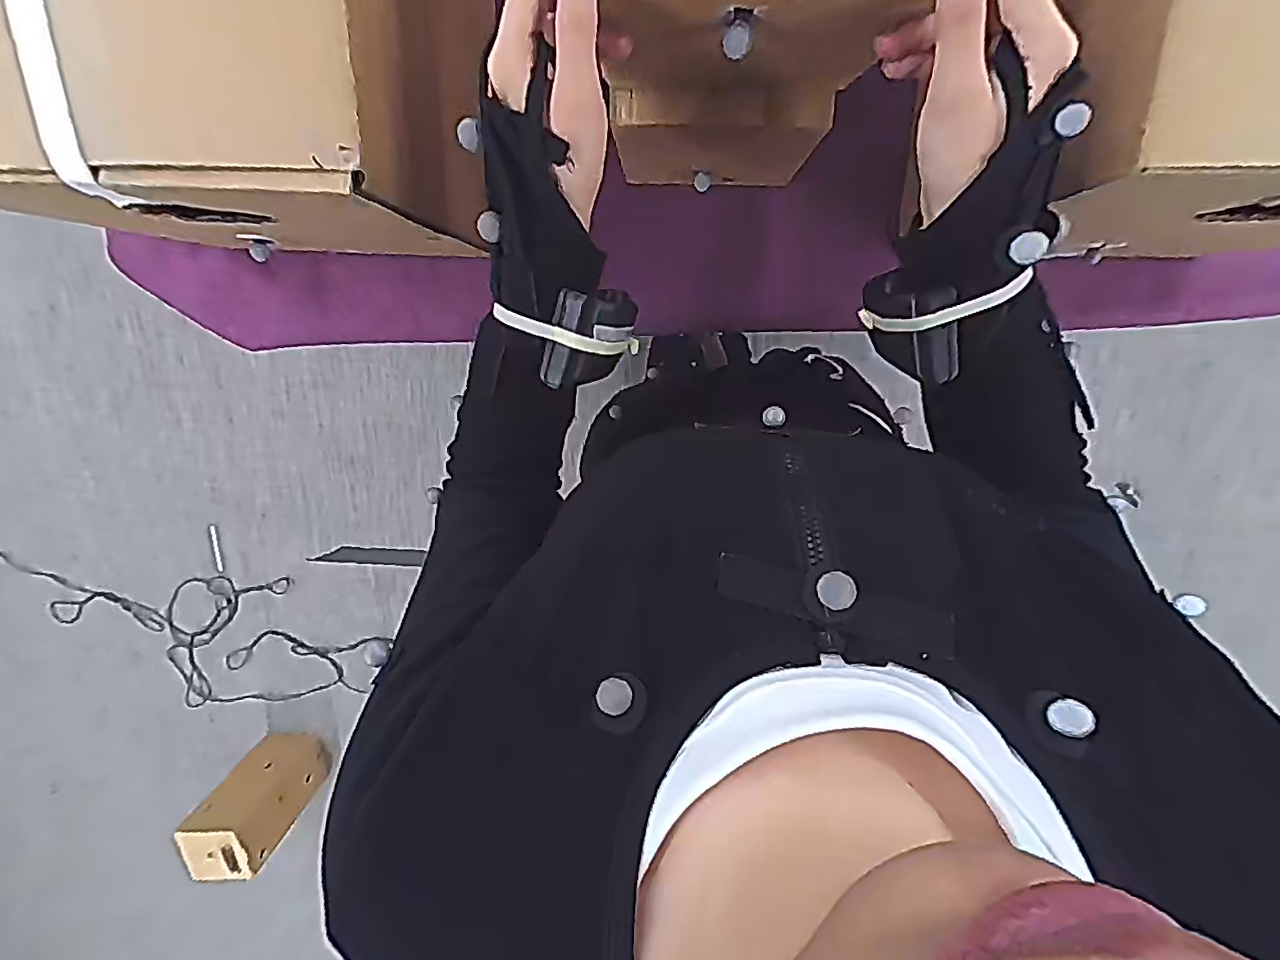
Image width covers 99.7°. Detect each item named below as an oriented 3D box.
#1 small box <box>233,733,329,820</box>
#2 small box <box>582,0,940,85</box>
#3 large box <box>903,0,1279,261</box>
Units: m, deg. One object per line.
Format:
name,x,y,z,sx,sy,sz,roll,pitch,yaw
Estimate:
small box,-1.083,0.899,1.651,0.179,0.176,0.168,1,106,4
small box,0.062,-0.328,0.282,0.179,0.176,0.168,2,113,3
large box,0.405,-0.381,0.356,0.320,0.320,0.408,1,105,3
